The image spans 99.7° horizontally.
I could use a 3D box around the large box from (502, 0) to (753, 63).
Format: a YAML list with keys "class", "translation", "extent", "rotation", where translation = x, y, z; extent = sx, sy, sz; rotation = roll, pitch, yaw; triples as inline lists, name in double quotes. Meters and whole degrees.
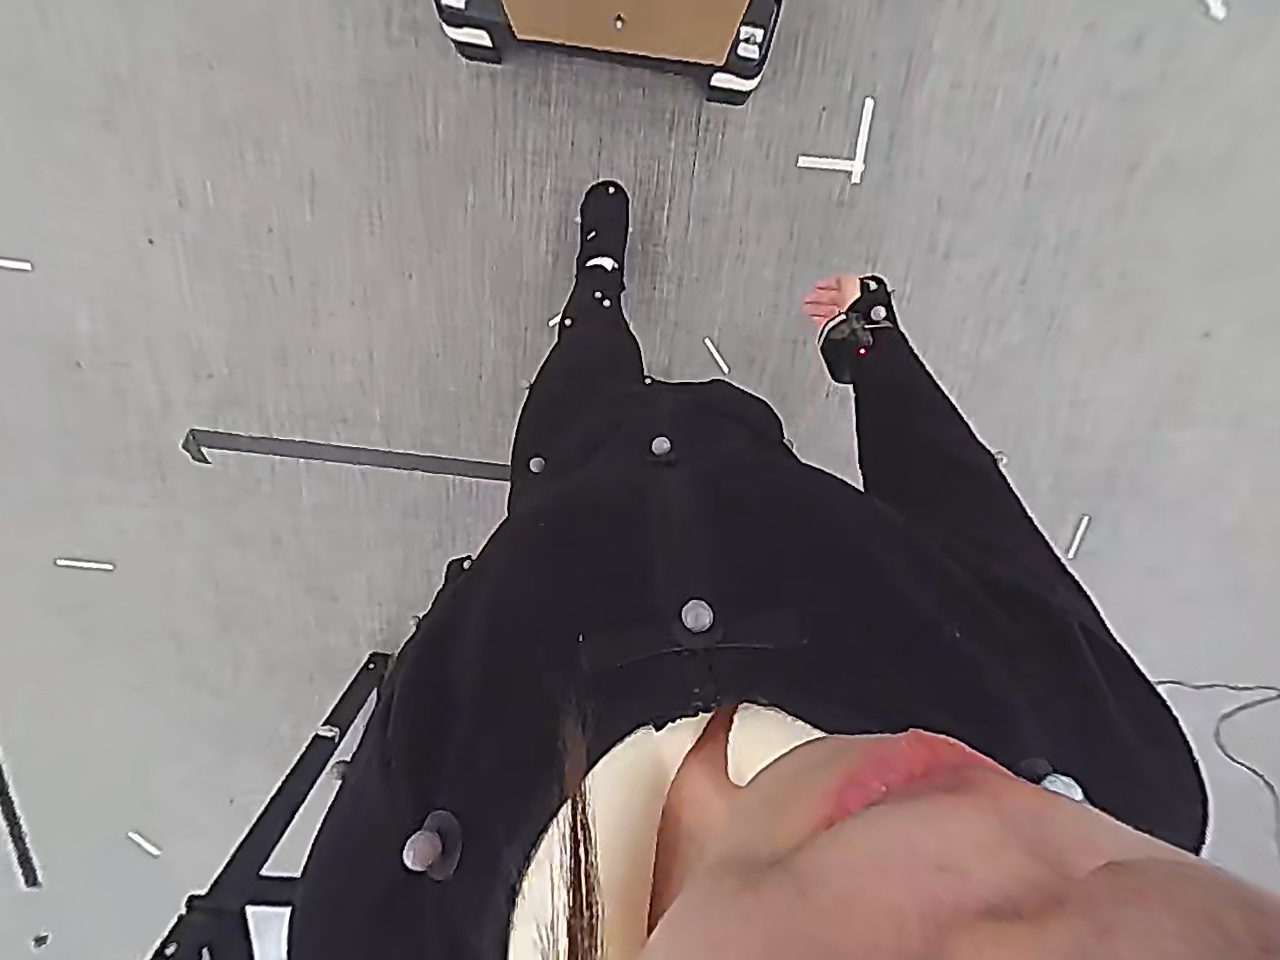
- class: "large box"
  translation: [-0.015, -0.910, 0.848]
  extent: [0.408, 0.320, 0.320]
  rotation: [5, 108, -2]
